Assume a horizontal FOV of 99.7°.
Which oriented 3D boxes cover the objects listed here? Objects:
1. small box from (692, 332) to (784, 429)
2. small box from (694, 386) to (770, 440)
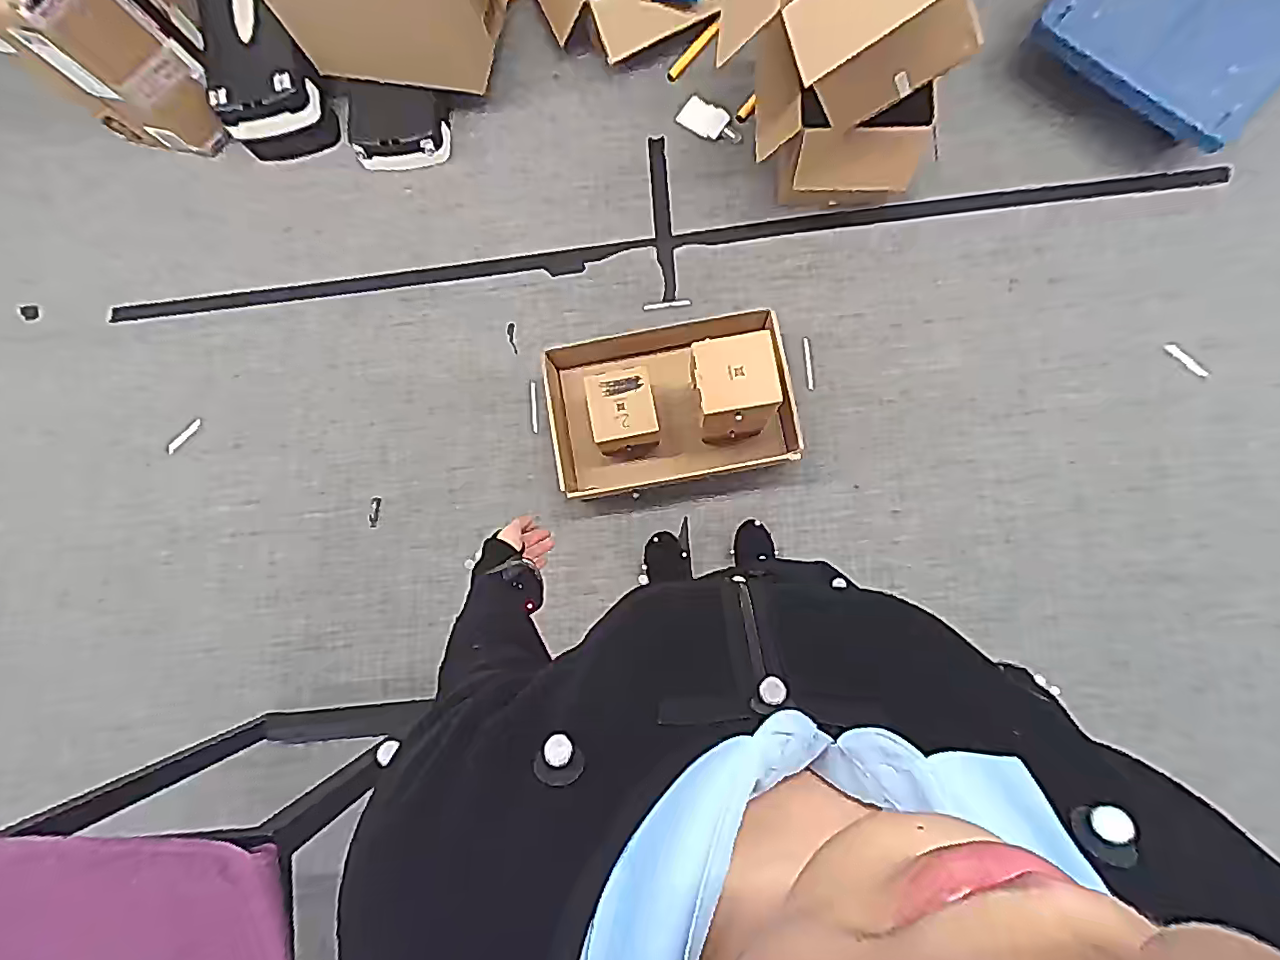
[{"bbox_3d":[0.220,-0.224,1.255,0.179,0.176,0.168,-9,83,4],"label":"small box"},{"bbox_3d":[0.235,-0.208,1.416,0.168,0.176,0.179,-9,82,3],"label":"small box"}]
